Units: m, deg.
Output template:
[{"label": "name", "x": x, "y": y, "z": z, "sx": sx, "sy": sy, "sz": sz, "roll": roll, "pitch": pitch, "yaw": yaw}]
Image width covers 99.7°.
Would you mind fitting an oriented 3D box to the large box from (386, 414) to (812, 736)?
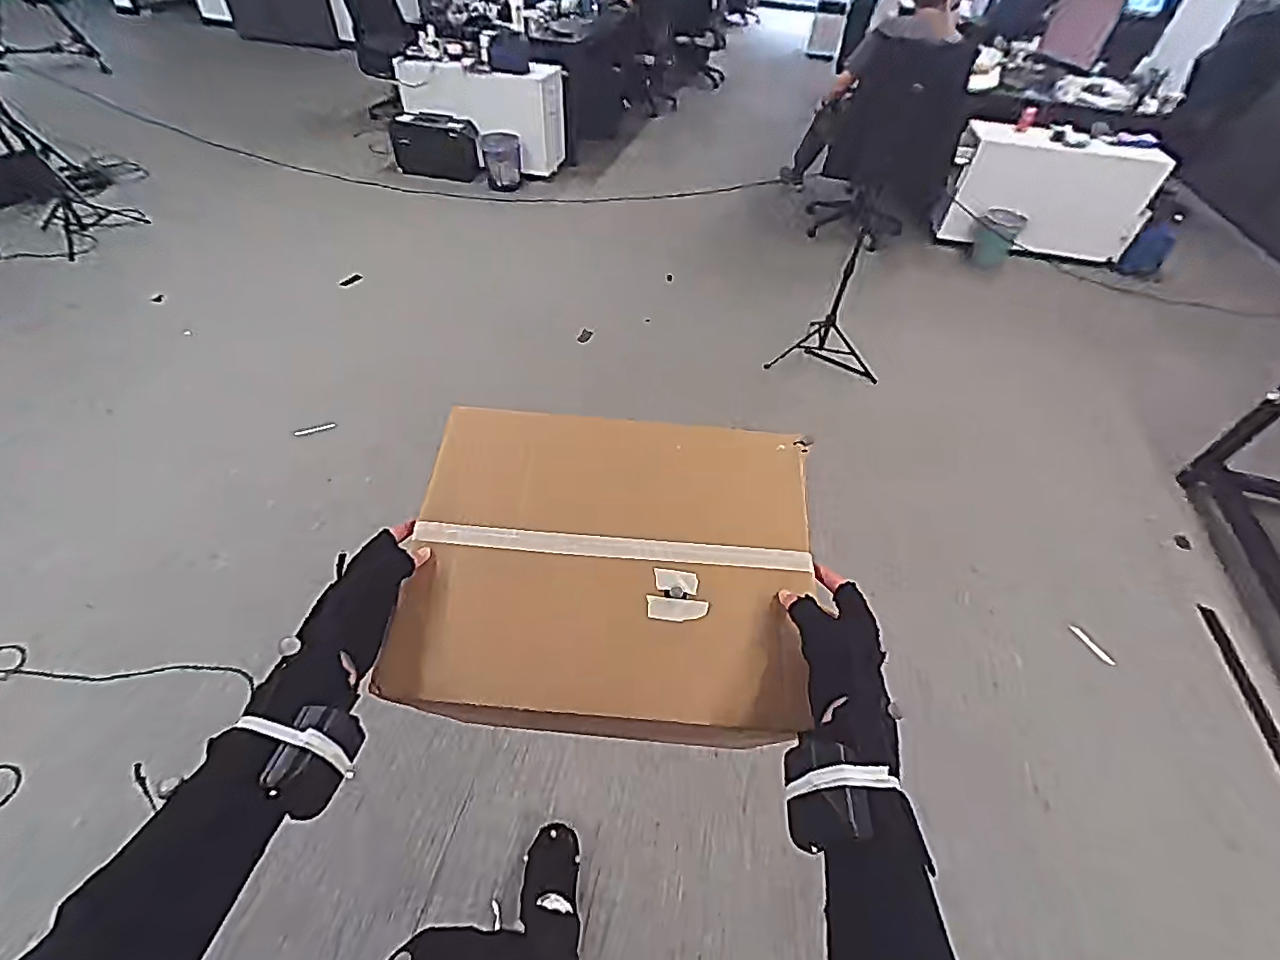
[{"label": "large box", "x": -0.037, "y": 0.140, "z": 0.697, "sx": 0.408, "sy": 0.320, "sz": 0.320, "roll": 5, "pitch": 62, "yaw": 0}]
